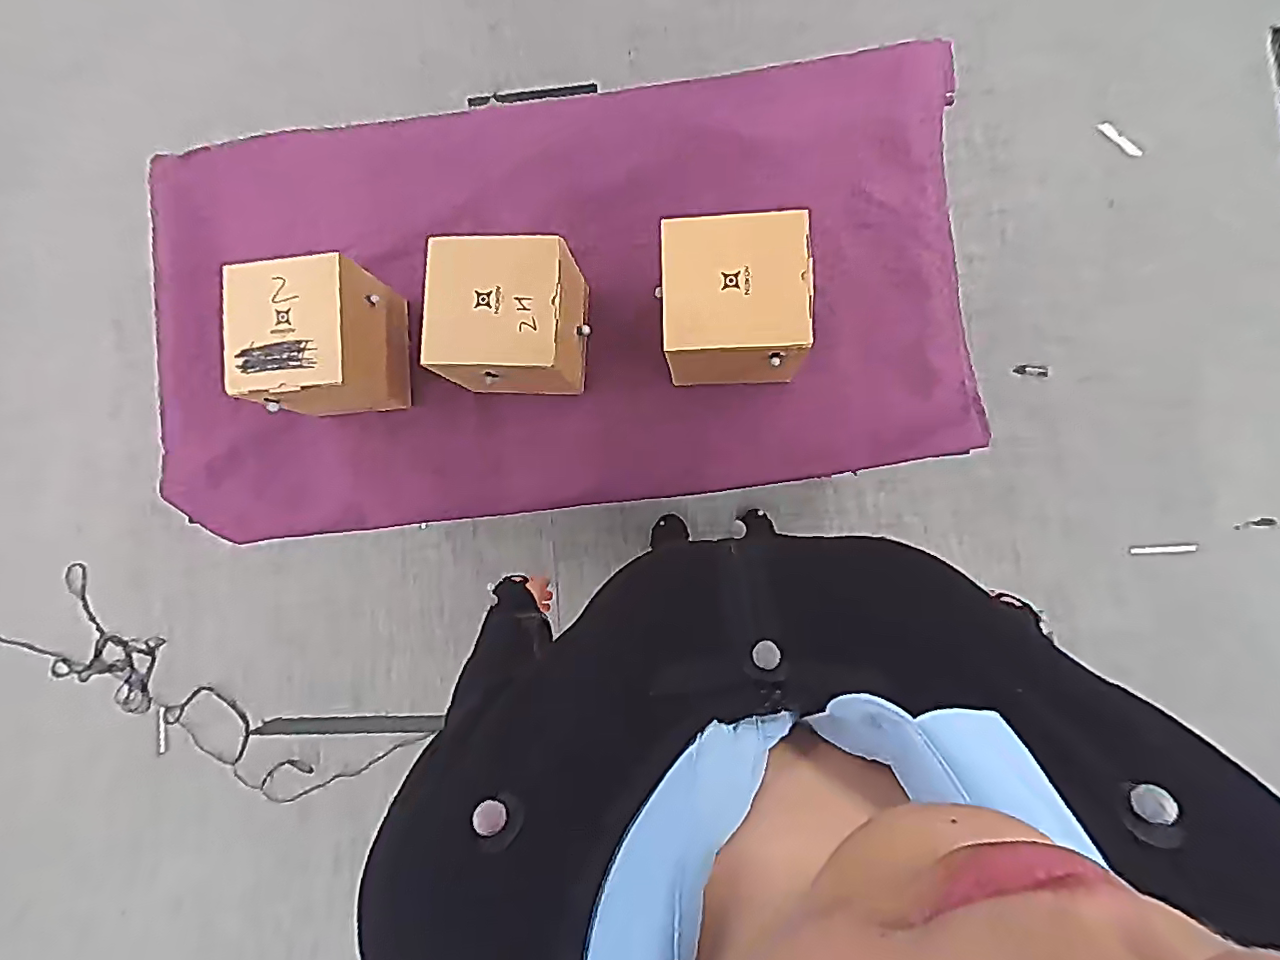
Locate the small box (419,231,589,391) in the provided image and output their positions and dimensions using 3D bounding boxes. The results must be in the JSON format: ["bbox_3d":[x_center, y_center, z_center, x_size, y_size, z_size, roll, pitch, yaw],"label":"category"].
[{"bbox_3d":[-0.176,-0.222,0.745,0.179,0.176,0.168,3,88,6],"label":"small box"}]

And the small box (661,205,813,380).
[{"bbox_3d":[0.122,-0.233,0.715,0.179,0.176,0.168,-1,86,6],"label":"small box"}]
